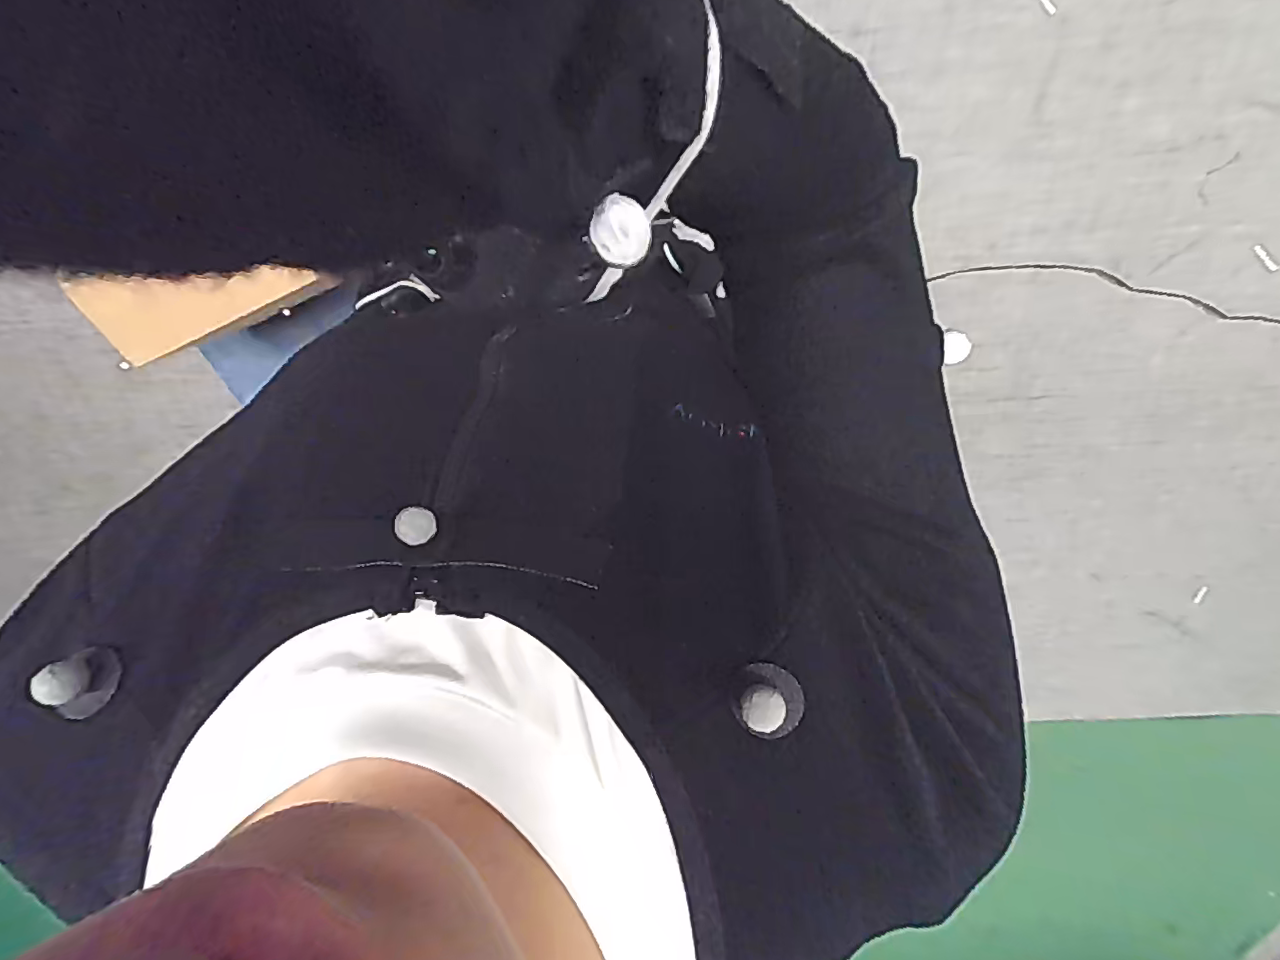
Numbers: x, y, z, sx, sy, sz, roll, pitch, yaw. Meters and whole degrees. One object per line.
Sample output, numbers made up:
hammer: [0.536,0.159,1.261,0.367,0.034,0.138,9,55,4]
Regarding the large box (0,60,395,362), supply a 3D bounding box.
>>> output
large box: [-0.752,-0.469,0.985,0.408,0.320,0.320,-19,115,11]
